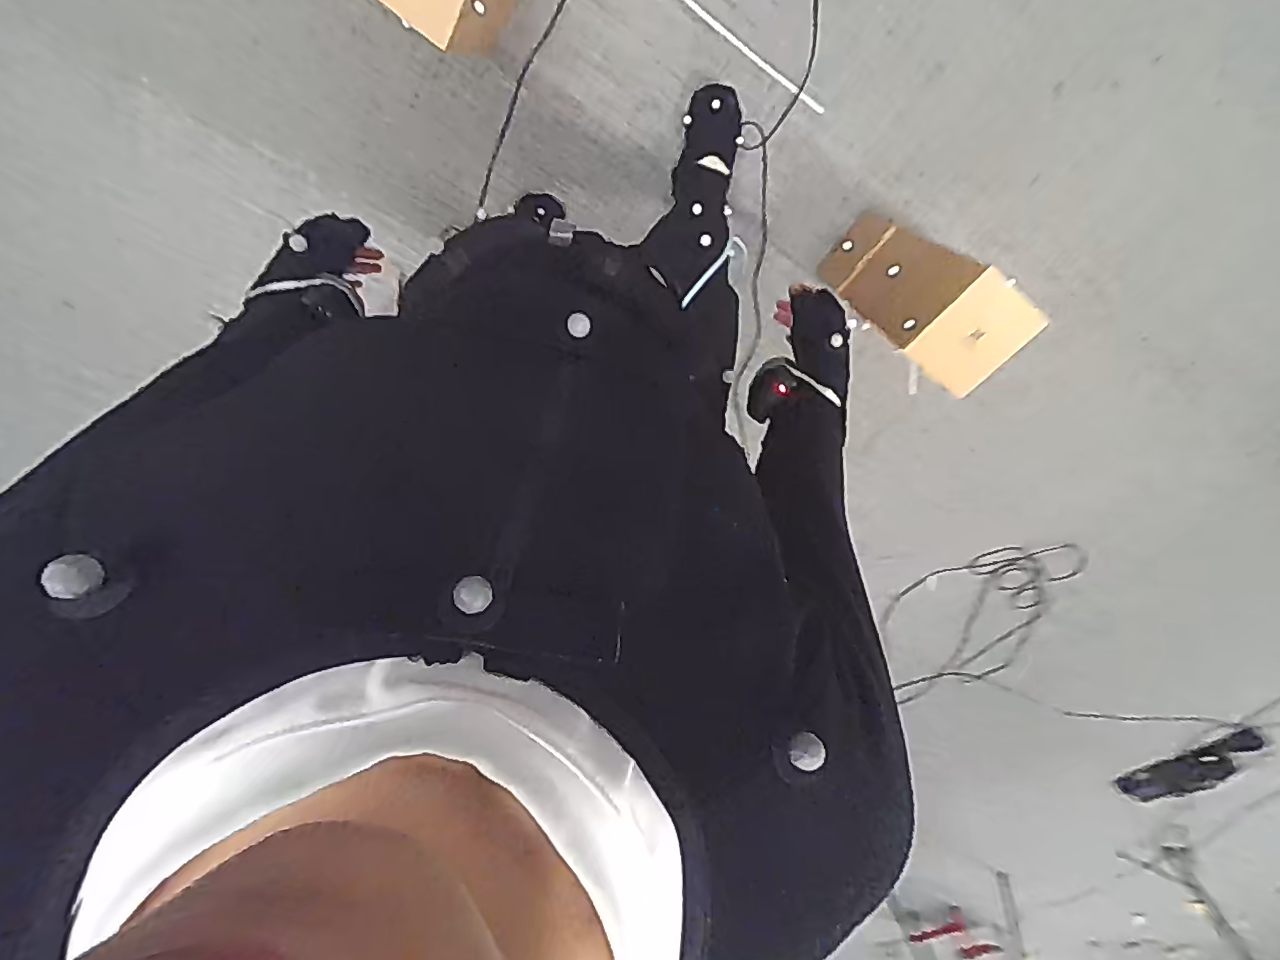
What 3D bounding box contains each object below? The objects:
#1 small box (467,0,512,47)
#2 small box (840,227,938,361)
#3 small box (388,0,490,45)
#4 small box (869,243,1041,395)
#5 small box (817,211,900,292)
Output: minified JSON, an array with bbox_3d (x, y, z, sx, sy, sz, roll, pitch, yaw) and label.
[{"bbox_3d":[-0.308,-0.883,0.916,0.168,0.176,0.179,32,120,-22],"label":"small box"},{"bbox_3d":[0.545,-0.385,1.107,0.168,0.176,0.179,29,122,-21],"label":"small box"},{"bbox_3d":[-0.309,-0.791,0.801,0.168,0.176,0.179,31,120,-21],"label":"small box"},{"bbox_3d":[0.552,-0.293,0.973,0.168,0.176,0.179,29,122,-21],"label":"small box"},{"bbox_3d":[0.537,-0.487,1.236,0.179,0.176,0.168,29,122,-20],"label":"small box"}]
